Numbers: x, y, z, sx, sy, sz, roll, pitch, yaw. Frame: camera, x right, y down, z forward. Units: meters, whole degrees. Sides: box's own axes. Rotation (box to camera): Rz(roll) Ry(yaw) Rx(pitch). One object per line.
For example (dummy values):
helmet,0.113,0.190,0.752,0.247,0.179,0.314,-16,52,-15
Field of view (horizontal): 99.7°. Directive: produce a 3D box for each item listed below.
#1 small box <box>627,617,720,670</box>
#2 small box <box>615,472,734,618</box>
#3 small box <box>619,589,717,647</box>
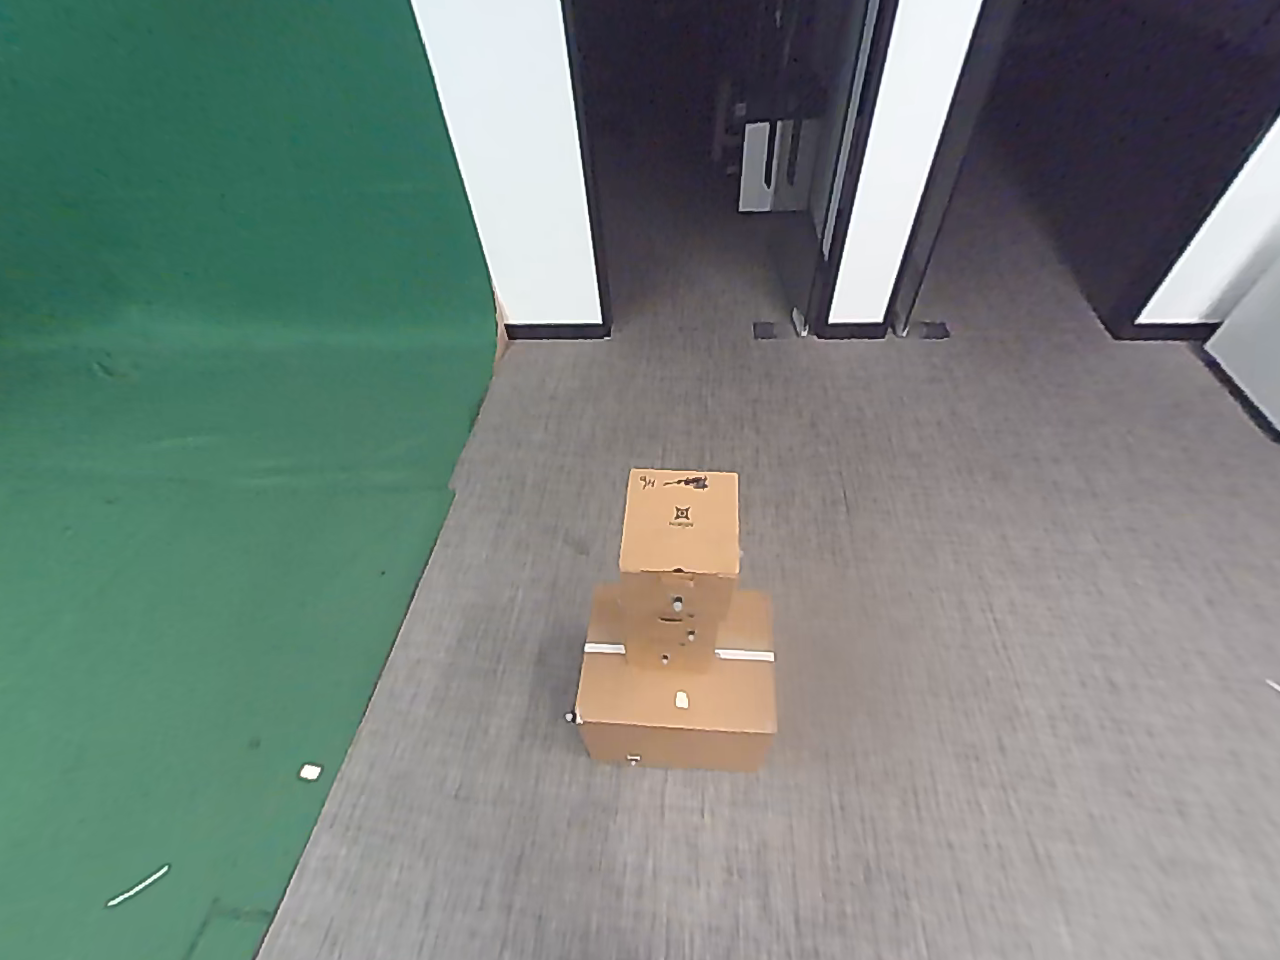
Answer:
small box,0.071,0.287,1.121,0.179,0.176,0.168,1,55,5
small box,0.060,0.106,0.851,0.168,0.176,0.179,2,56,6
small box,0.059,0.193,0.989,0.168,0.176,0.179,2,54,5
